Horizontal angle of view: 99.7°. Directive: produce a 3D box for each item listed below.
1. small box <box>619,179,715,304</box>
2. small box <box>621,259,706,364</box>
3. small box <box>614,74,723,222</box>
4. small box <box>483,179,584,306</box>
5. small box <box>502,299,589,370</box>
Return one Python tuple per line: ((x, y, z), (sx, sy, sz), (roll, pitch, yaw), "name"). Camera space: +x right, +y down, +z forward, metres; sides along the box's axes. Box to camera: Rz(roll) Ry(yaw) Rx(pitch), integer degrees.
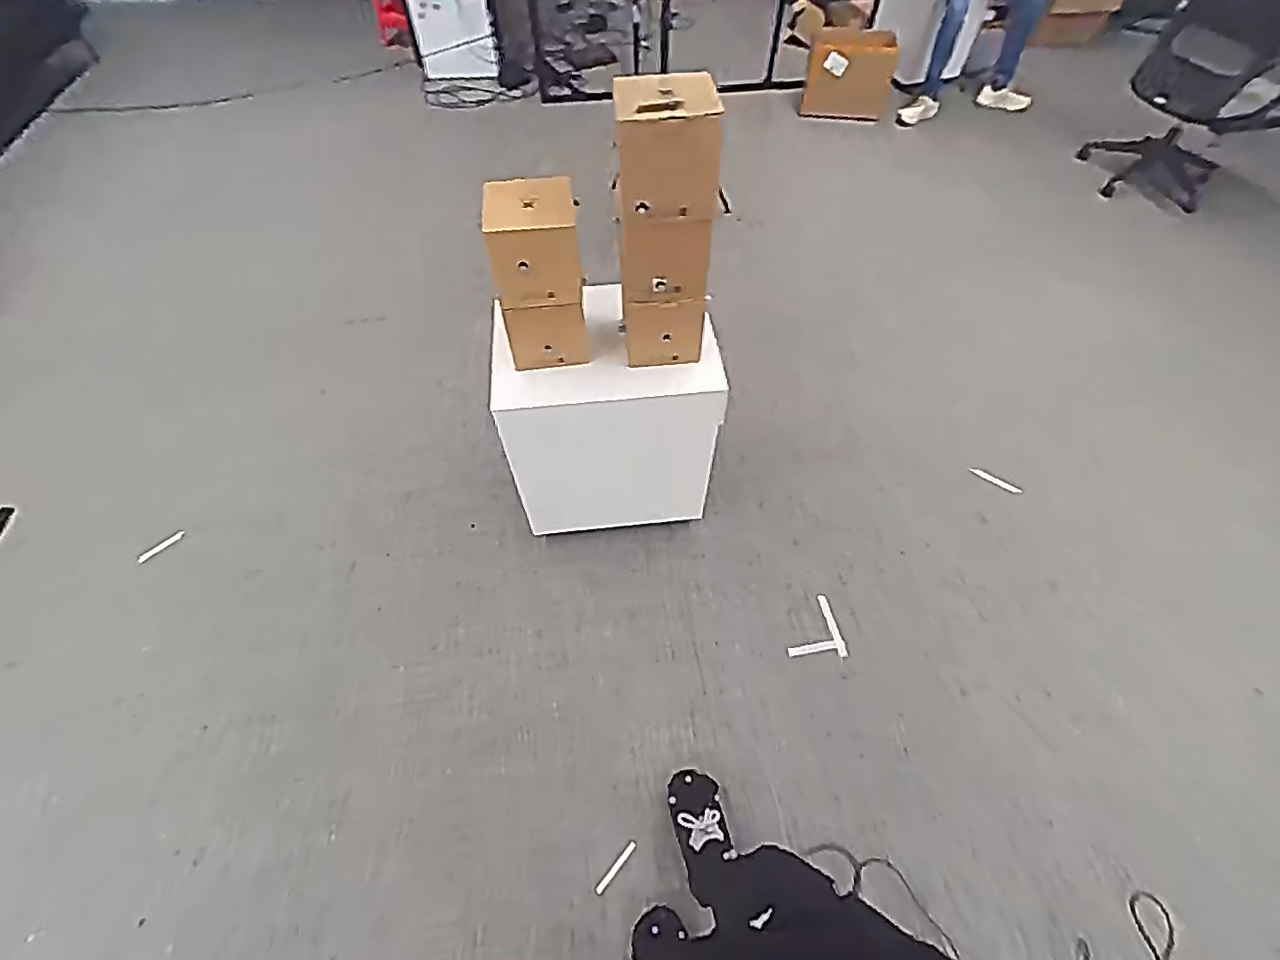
((0.046, -0.473, 1.069), (0.168, 0.176, 0.179), (-6, 56, -2), "small box")
((0.049, -0.373, 1.198), (0.168, 0.176, 0.179), (-5, 57, -2), "small box")
((0.046, -0.564, 0.931), (0.168, 0.176, 0.179), (-4, 54, -1), "small box")
((-0.203, -0.456, 1.057), (0.168, 0.176, 0.179), (-6, 55, -5), "small box")
((-0.206, -0.367, 1.193), (0.168, 0.176, 0.179), (-8, 56, -5), "small box")
